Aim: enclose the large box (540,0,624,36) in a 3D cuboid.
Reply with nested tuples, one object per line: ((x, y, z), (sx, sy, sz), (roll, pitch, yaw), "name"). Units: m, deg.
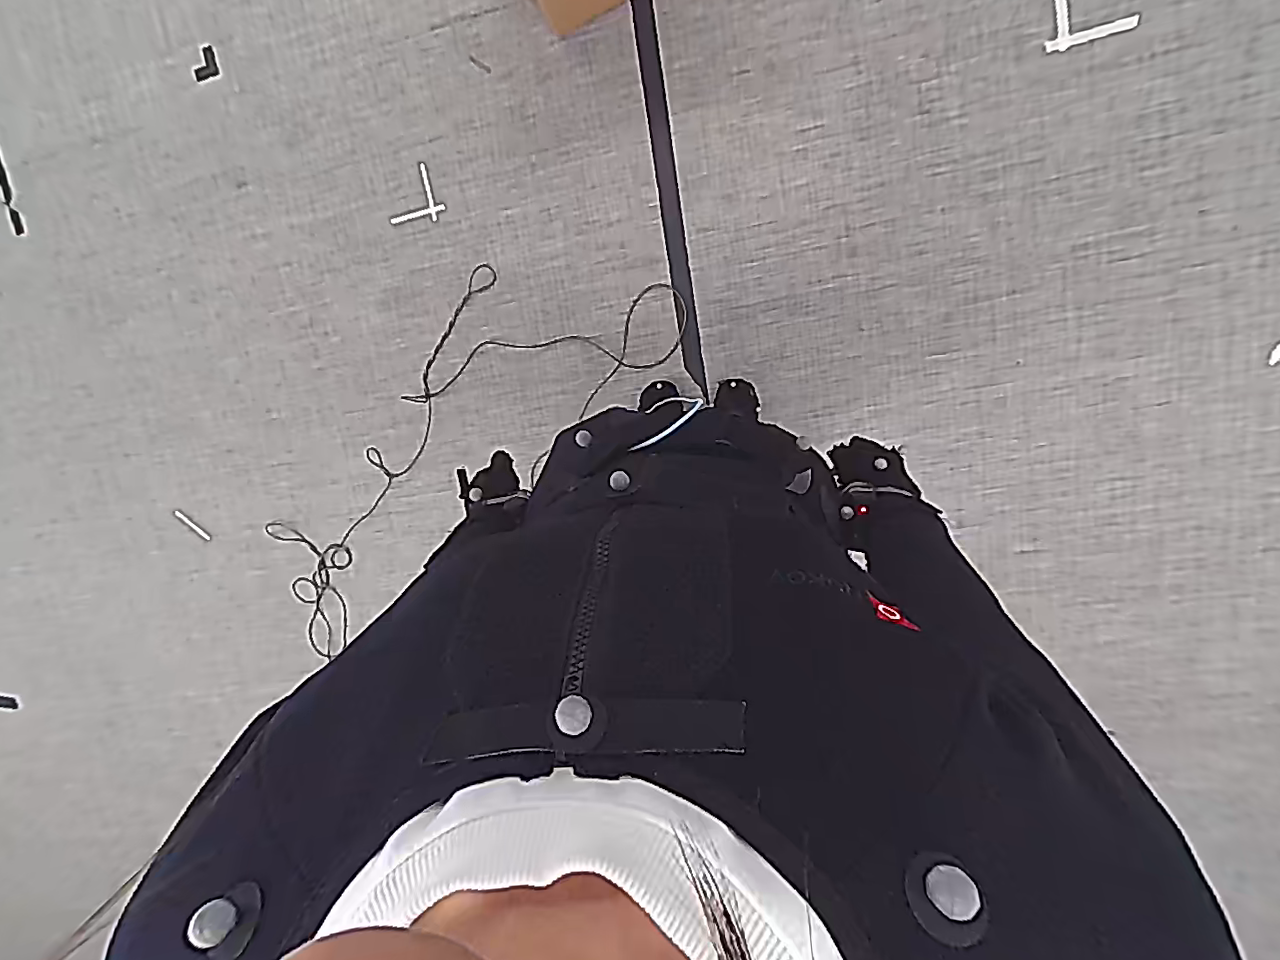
((-0.090, -1.214, 1.069), (0.408, 0.320, 0.320), (-21, 99, 10), "large box")
